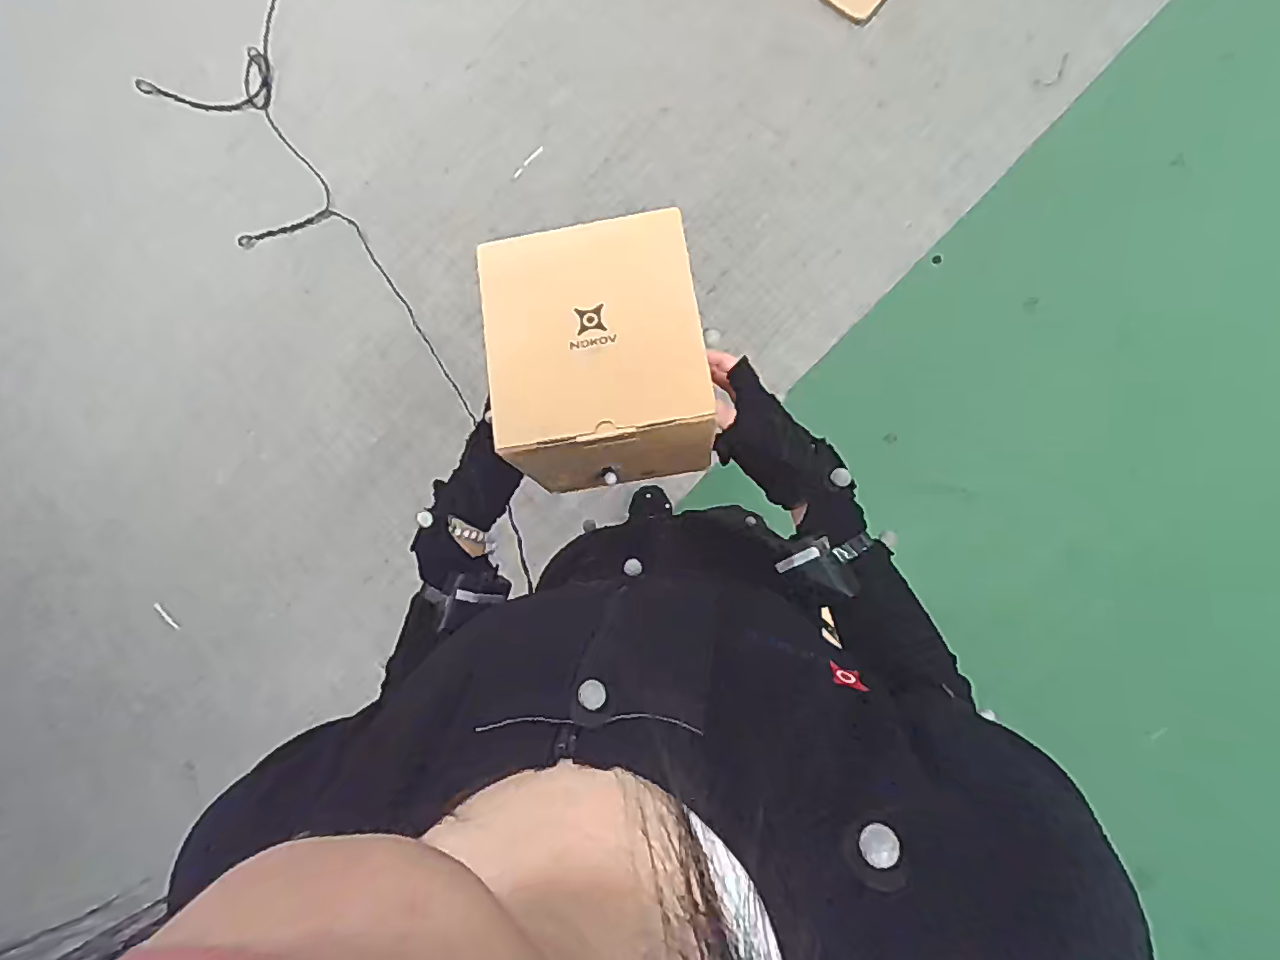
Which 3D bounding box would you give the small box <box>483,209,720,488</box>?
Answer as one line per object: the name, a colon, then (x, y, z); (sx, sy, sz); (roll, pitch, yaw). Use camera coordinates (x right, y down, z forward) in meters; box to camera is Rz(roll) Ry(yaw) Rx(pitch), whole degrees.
small box: (-0.029, -0.102, 0.488); (0.168, 0.176, 0.179); (-9, 79, 3)
